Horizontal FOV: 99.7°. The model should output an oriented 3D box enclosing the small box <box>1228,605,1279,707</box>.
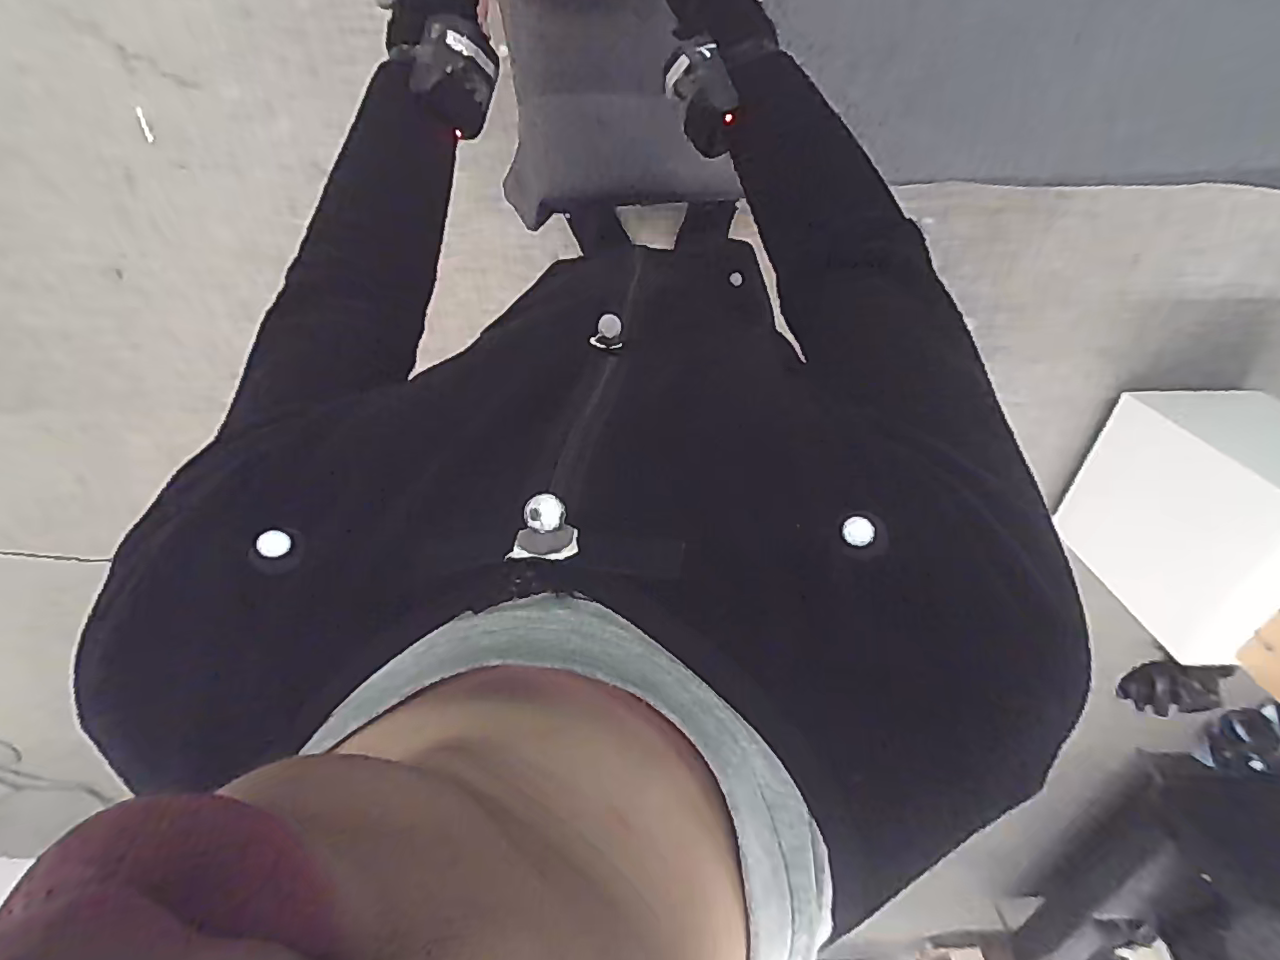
[{"bbox_3d":[1.583,0.420,1.284,0.168,0.176,0.179,0,126,-2],"label":"small box"}]
